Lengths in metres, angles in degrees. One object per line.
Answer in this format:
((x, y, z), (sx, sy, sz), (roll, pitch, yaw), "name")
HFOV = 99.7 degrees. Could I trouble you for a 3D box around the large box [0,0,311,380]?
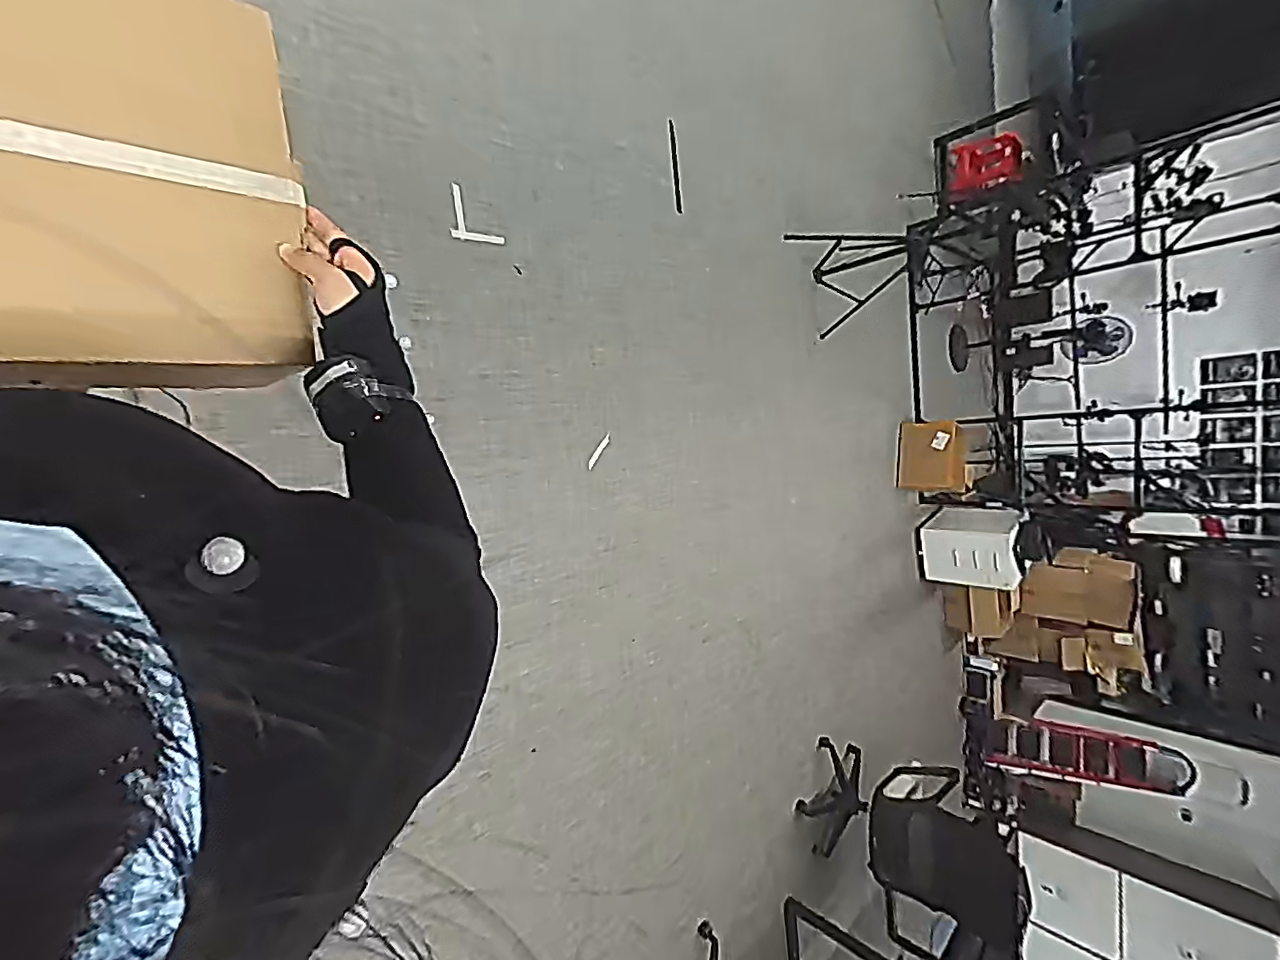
((-0.579, -0.256, 0.493), (0.408, 0.320, 0.320), (-10, 100, -42), "large box")
